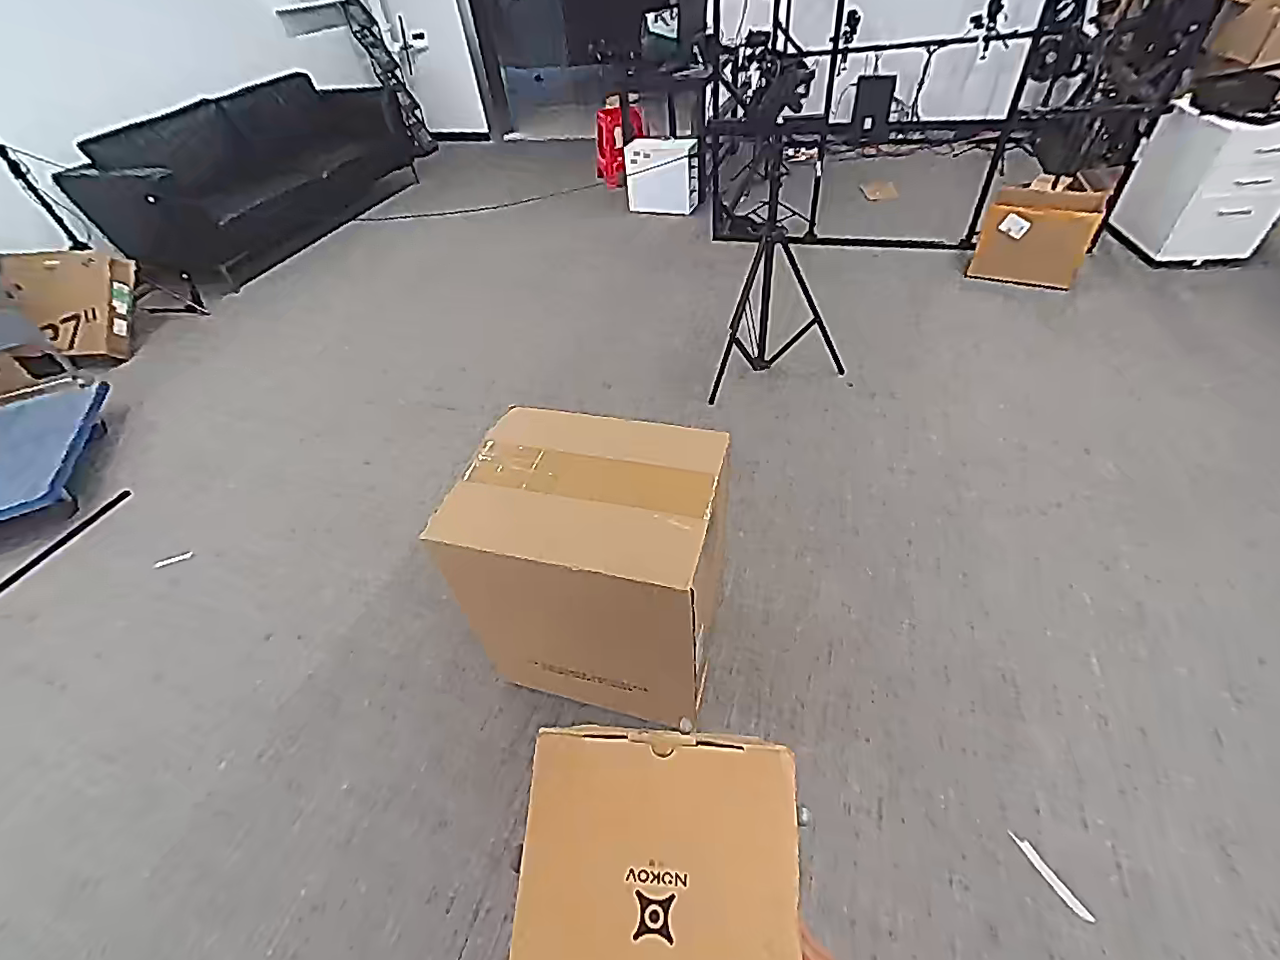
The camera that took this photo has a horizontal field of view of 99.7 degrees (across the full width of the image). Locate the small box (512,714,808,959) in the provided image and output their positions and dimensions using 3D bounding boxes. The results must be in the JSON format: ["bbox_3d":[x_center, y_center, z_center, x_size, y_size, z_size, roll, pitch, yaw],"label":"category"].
[{"bbox_3d":[0.020,0.267,0.382,0.168,0.176,0.179,1,65,6],"label":"small box"}]
